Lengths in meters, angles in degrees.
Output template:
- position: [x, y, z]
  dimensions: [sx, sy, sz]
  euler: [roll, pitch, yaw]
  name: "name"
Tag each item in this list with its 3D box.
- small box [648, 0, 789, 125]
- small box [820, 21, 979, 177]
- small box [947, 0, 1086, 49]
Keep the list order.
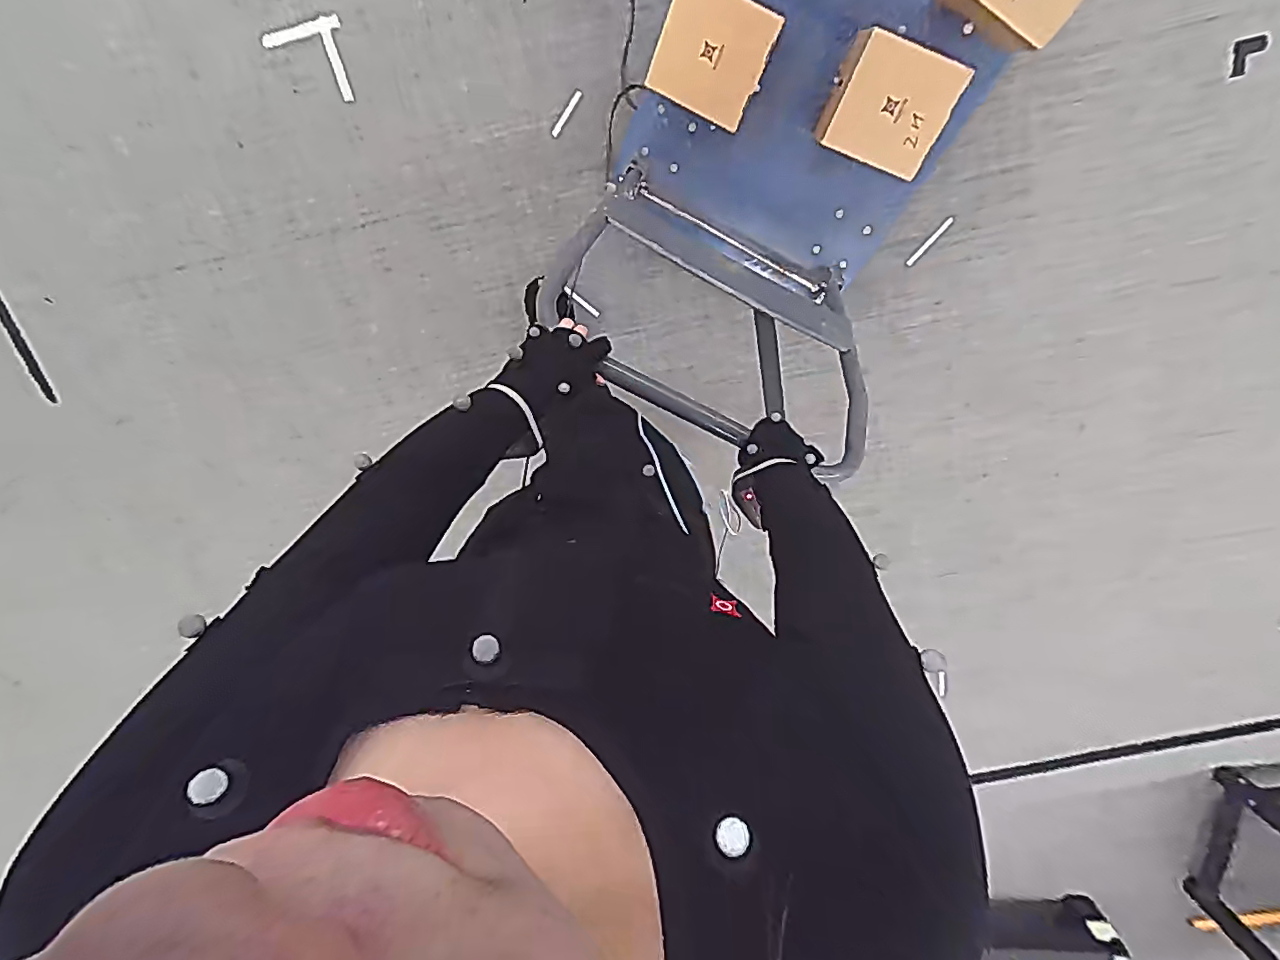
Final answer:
- position: [0.134, -0.749, 0.936]
  dimensions: [0.179, 0.176, 0.168]
  euler: [23, 128, -8]
  name: "small box"
- position: [0.433, -0.657, 0.940]
  dimensions: [0.179, 0.176, 0.168]
  euler: [21, 129, -4]
  name: "small box"
- position: [0.593, -0.788, 0.806]
  dimensions: [0.168, 0.176, 0.179]
  euler: [29, 128, -10]
  name: "small box"
